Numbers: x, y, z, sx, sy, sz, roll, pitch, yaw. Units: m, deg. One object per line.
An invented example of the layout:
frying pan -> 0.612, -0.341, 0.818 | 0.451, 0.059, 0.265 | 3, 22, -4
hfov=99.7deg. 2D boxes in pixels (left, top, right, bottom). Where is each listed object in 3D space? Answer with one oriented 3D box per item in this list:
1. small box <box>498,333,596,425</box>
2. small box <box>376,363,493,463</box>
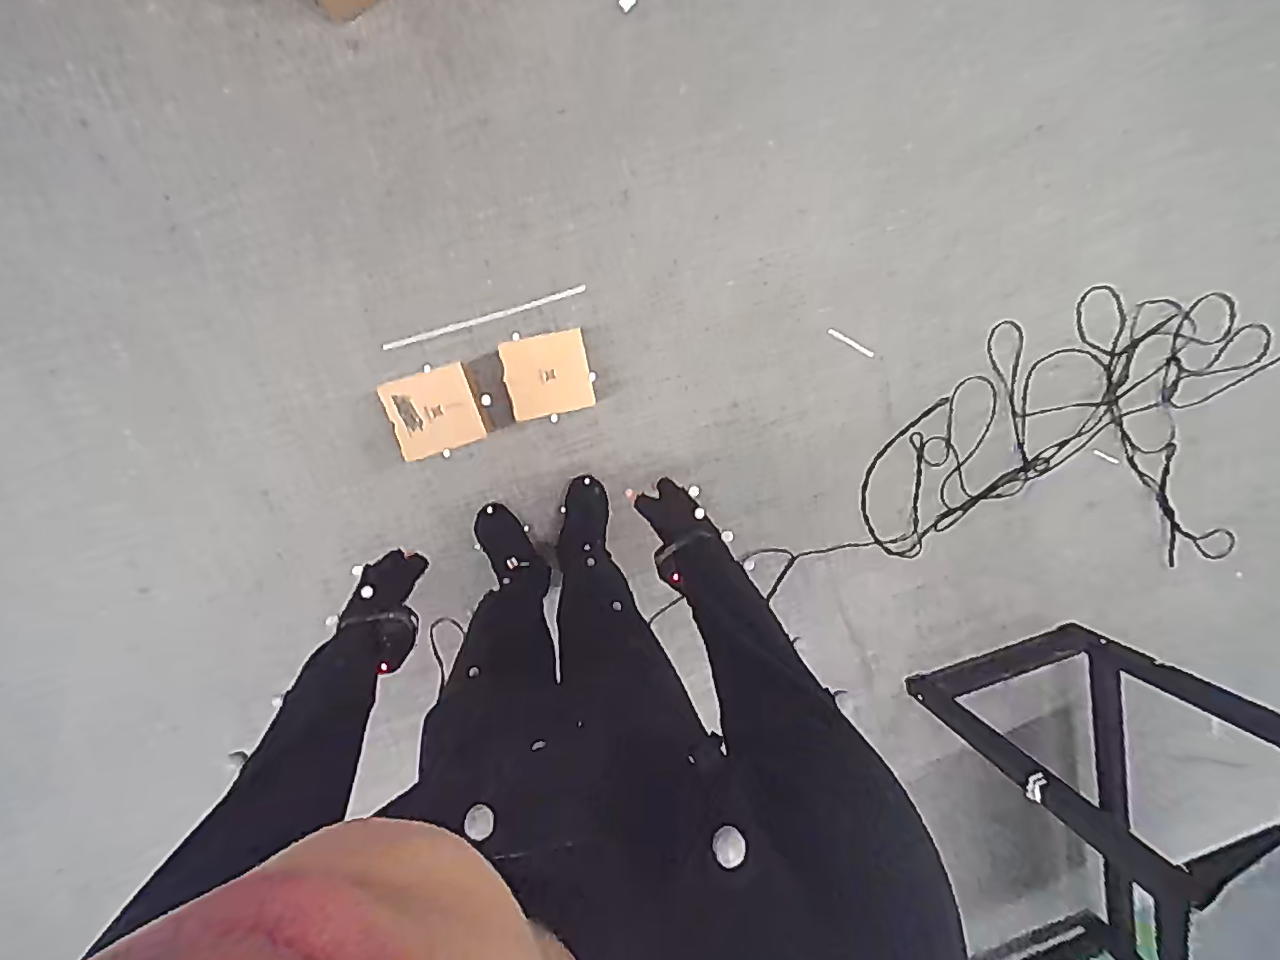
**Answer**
small box -> -0.203, -0.226, 1.203 | 0.179, 0.176, 0.168 | -13, 101, -5
small box -> -0.435, -0.146, 1.177 | 0.179, 0.176, 0.168 | -18, 102, -7
